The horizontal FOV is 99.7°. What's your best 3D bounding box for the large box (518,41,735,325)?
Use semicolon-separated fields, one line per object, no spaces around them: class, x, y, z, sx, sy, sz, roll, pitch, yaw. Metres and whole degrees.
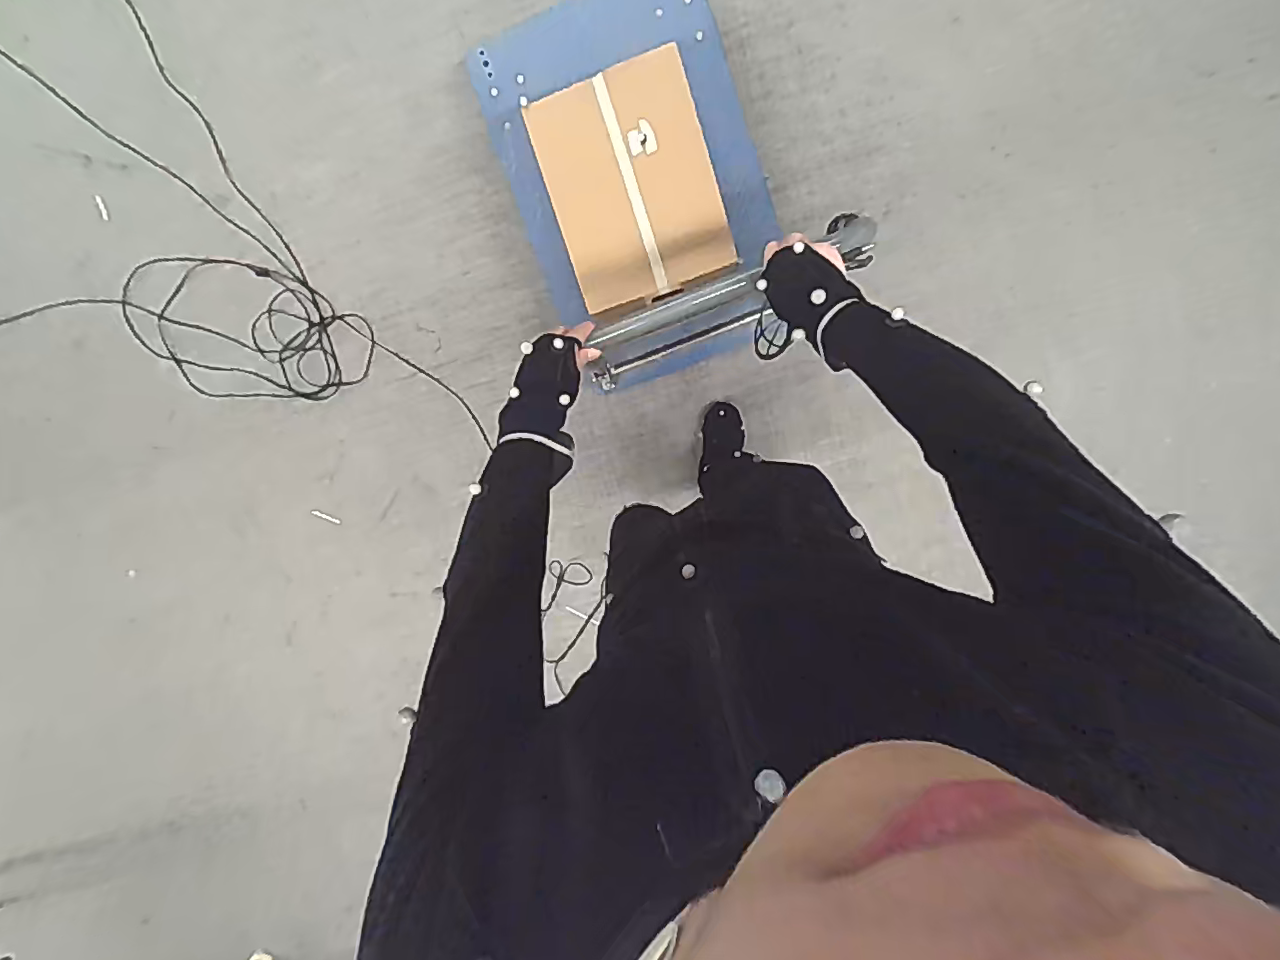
large box;-0.010;-0.592;1.169;0.320;0.320;0.408;-17;99;7
